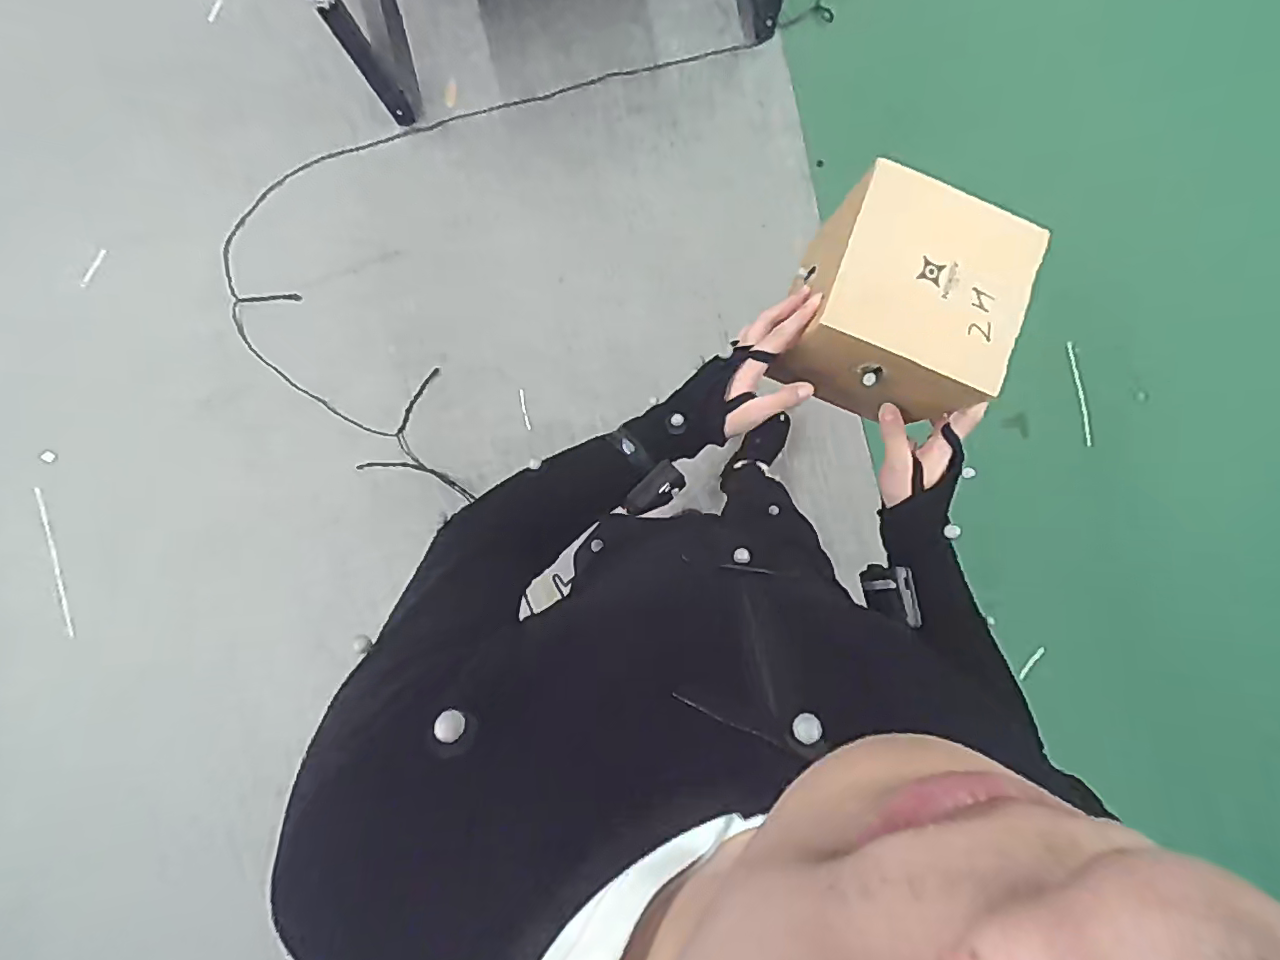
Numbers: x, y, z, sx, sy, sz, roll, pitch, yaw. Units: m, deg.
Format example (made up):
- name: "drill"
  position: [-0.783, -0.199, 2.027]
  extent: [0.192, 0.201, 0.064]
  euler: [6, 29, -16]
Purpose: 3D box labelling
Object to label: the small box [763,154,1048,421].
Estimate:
- name: "small box"
  position: [0.246, -0.172, 0.545]
  extent: [0.179, 0.176, 0.168]
  euler: [22, 84, -3]
